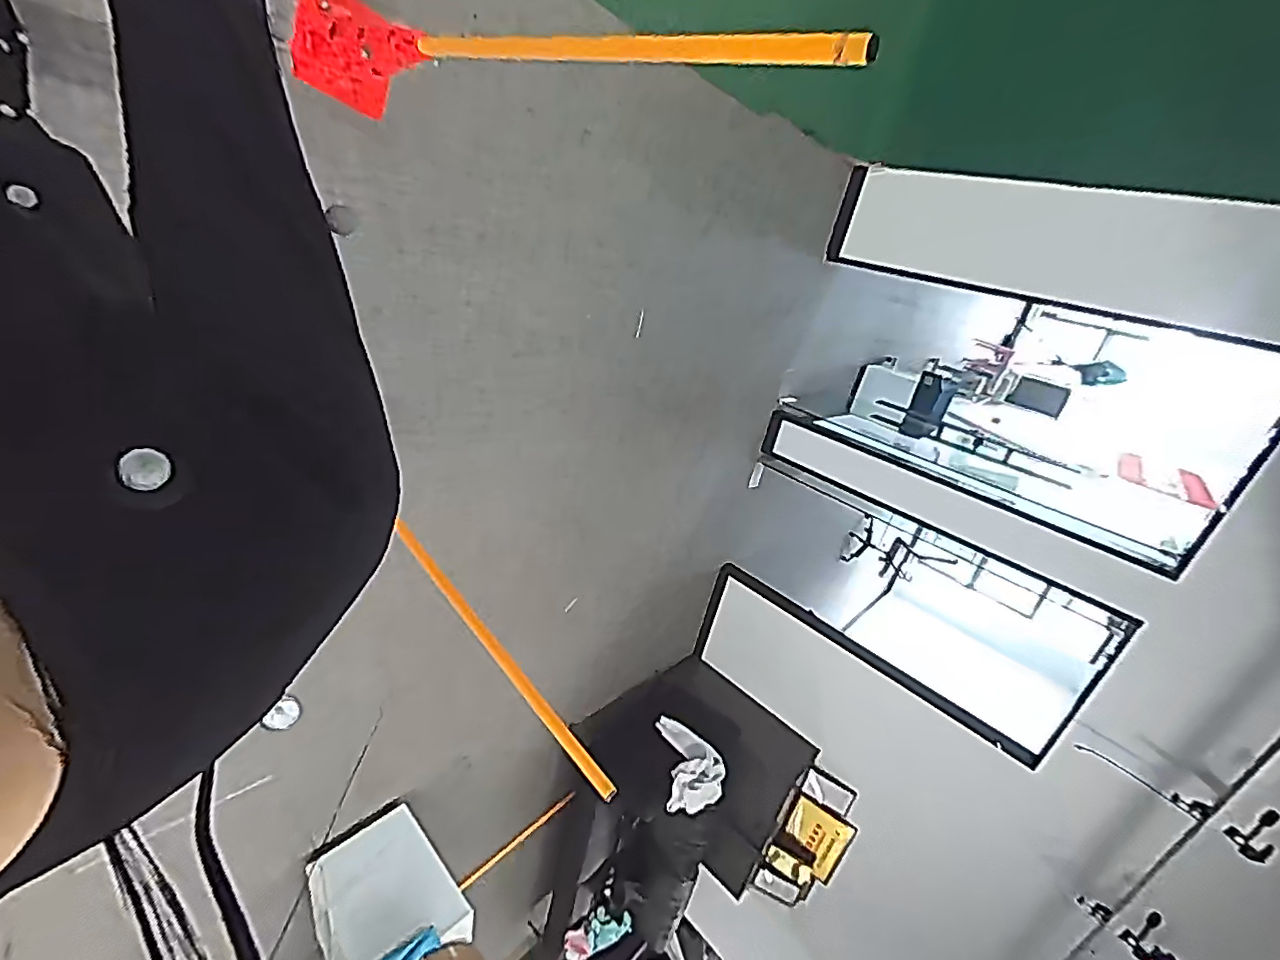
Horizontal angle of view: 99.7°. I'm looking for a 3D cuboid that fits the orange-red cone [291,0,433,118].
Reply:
[{"bbox_3d":[-0.517,-0.862,1.082,0.198,0.360,0.199,3,113,-52],"label":"orange-red cone"}]
